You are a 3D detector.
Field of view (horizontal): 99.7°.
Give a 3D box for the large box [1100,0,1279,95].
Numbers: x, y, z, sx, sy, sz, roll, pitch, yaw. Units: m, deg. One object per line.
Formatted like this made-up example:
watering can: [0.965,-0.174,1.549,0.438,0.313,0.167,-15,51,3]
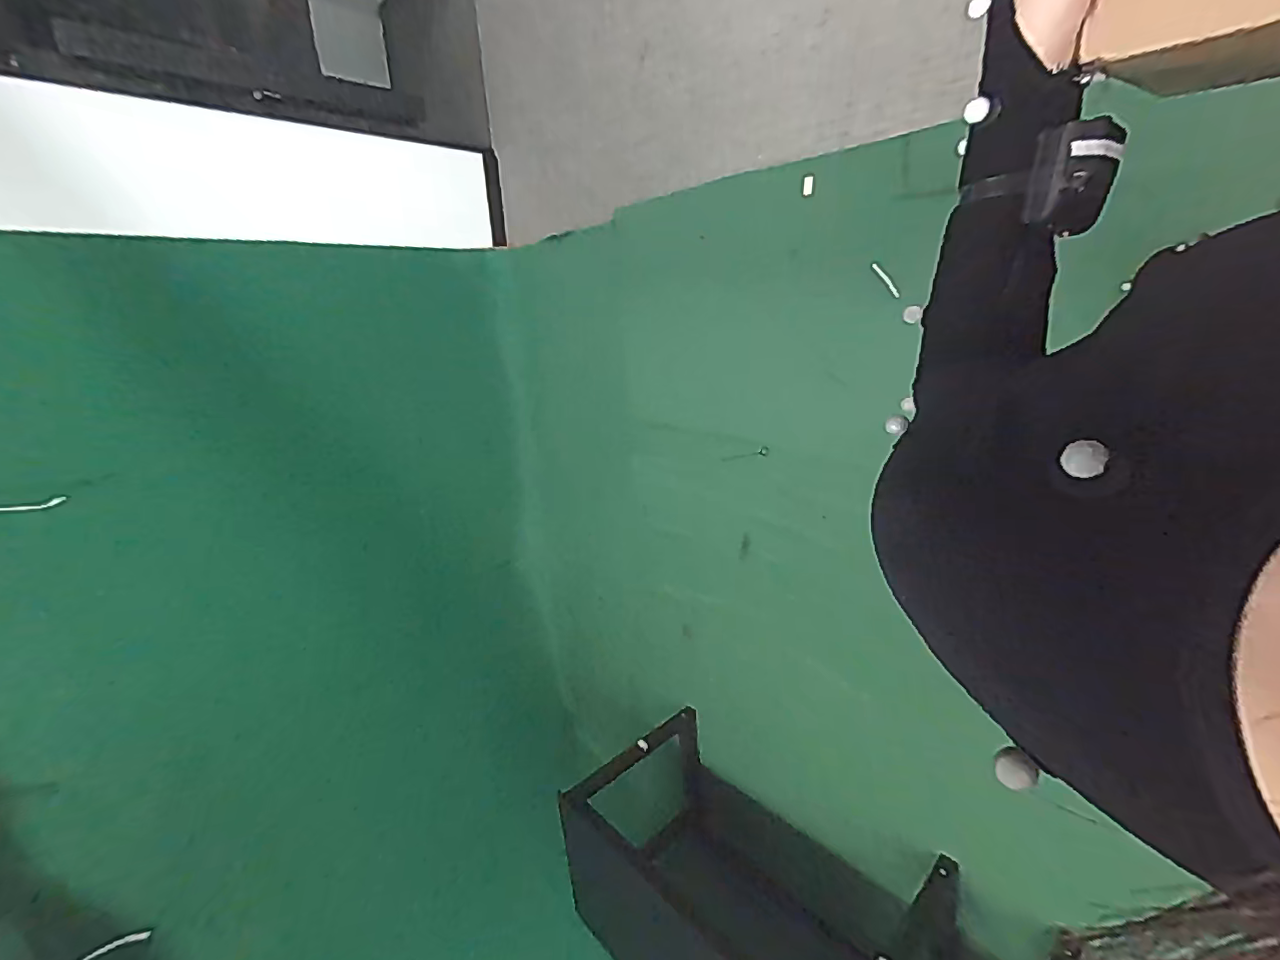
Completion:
large box: [0.523,-0.426,0.250,0.408,0.320,0.320,17,124,44]
